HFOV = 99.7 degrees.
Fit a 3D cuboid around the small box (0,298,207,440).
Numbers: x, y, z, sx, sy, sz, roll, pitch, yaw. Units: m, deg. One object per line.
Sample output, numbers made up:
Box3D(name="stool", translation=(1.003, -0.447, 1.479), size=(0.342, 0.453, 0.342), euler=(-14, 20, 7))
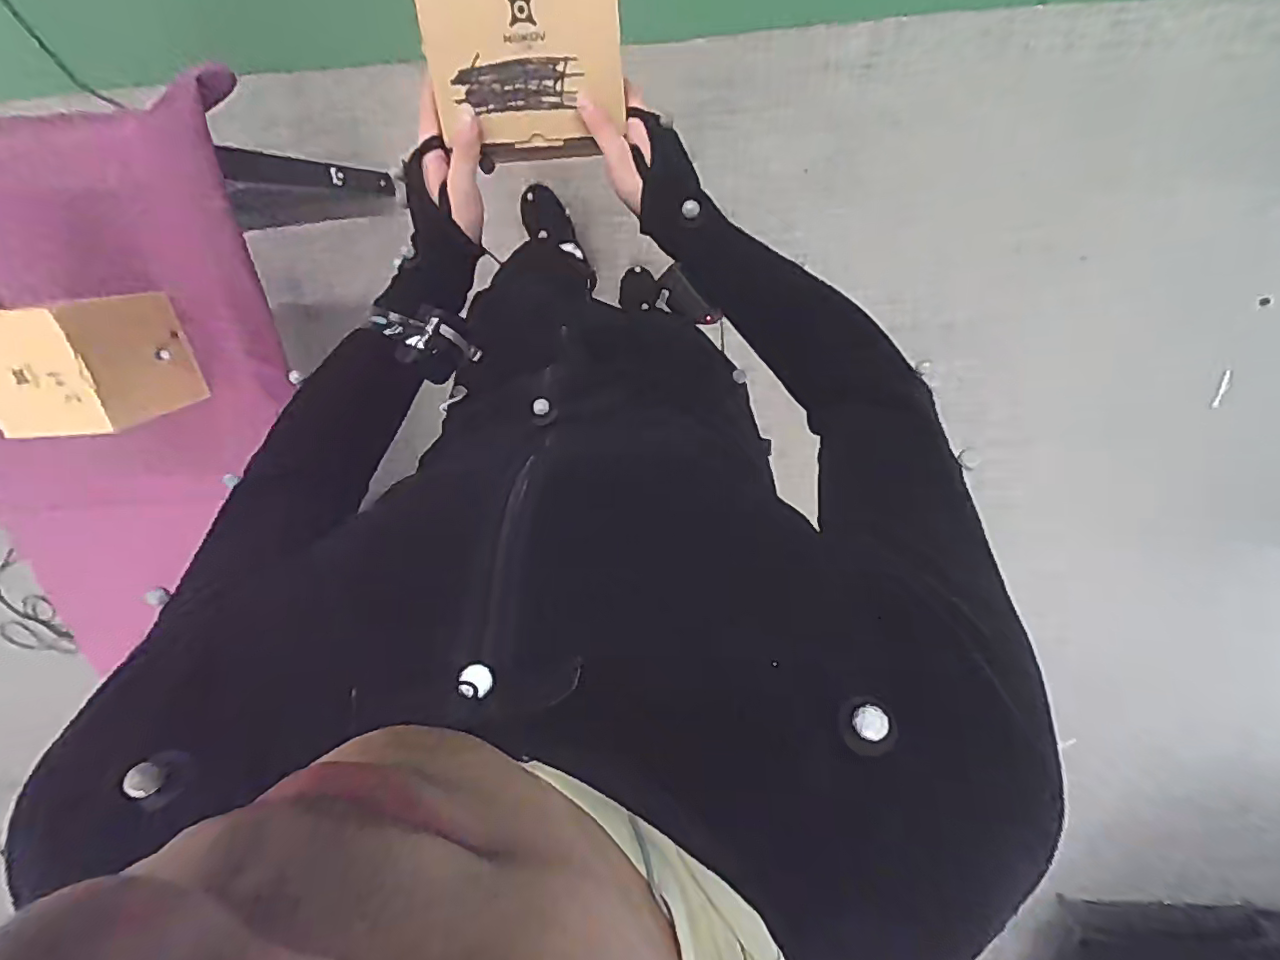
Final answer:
Box3D(name="small box", translation=(-0.794, -0.164, 0.781), size=(0.179, 0.176, 0.168), euler=(-2, 116, 5))
